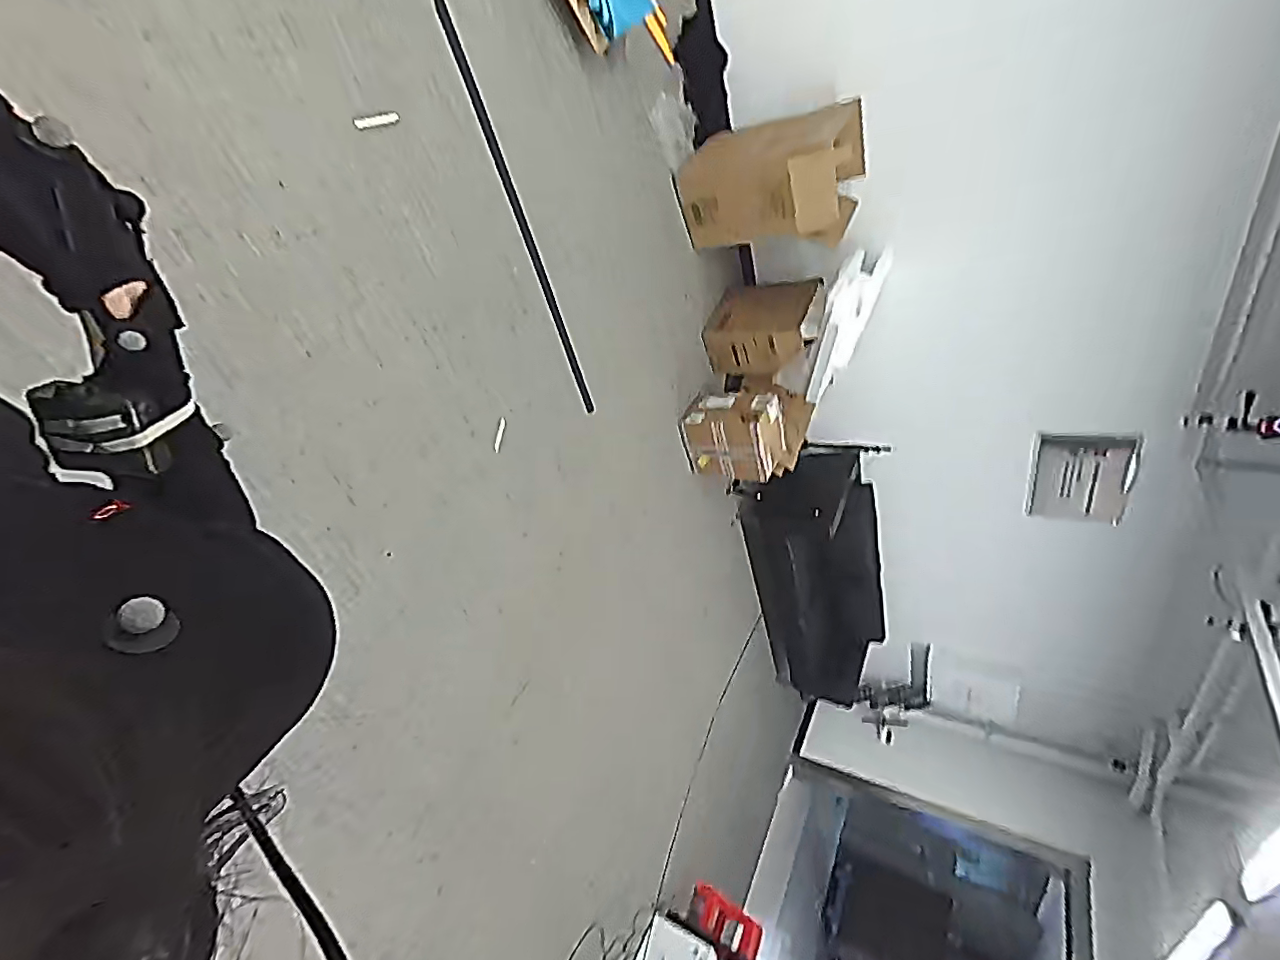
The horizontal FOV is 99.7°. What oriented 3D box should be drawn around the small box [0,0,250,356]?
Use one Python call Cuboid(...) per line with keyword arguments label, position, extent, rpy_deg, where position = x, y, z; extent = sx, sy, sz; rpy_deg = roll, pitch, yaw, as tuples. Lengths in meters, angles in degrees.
Cuboid(label="small box", position=(-0.403, -0.190, 0.335), extent=(0.176, 0.168, 0.179), rpy_deg=(-98, 163, -58))
